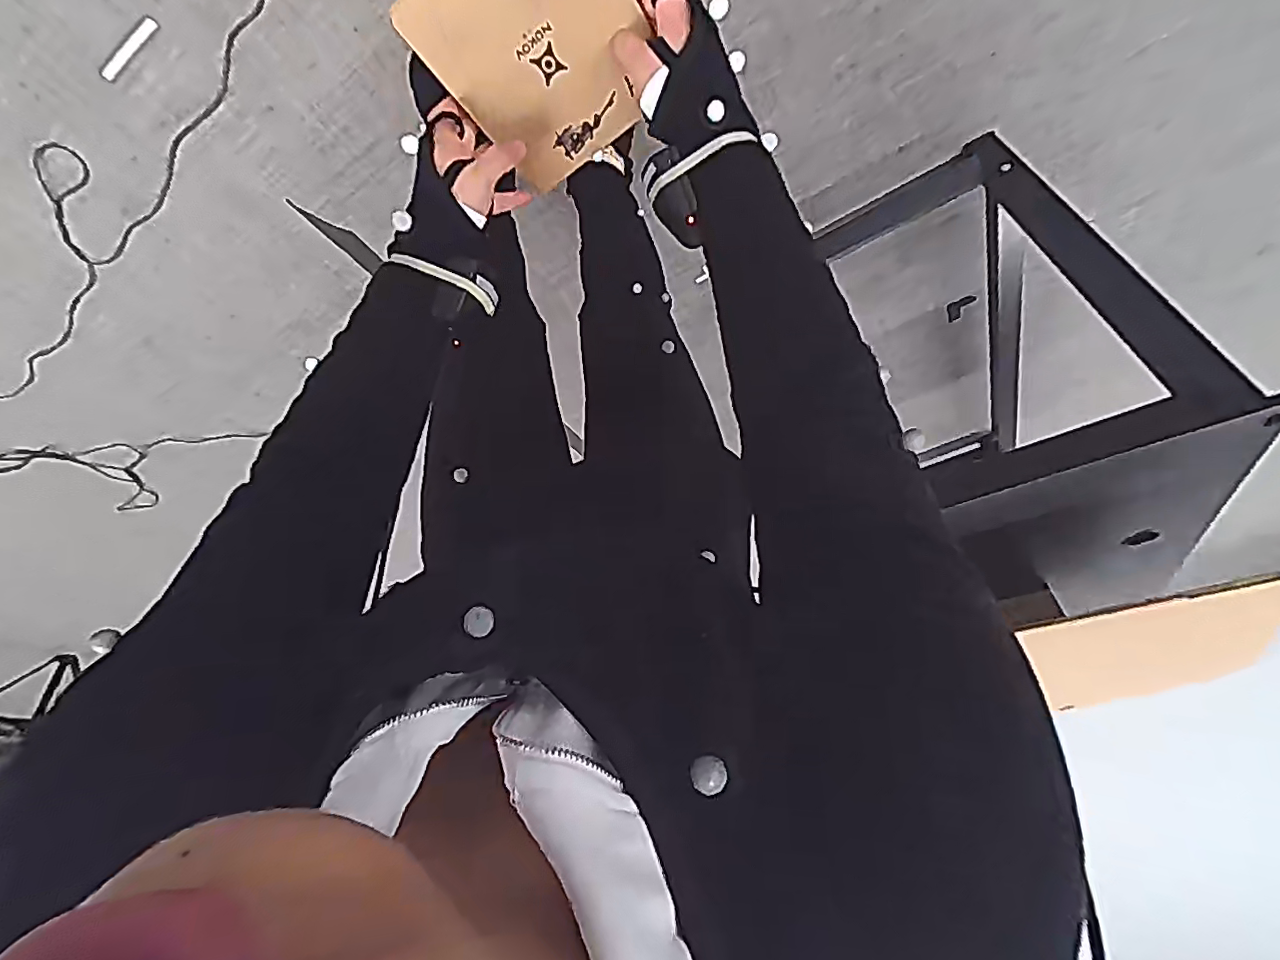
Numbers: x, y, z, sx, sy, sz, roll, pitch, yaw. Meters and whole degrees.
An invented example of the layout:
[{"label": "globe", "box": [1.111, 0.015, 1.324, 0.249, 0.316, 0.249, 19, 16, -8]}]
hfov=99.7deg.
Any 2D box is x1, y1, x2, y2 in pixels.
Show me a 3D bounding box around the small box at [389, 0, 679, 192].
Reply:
[{"label": "small box", "box": [-0.084, -0.414, 0.483, 0.168, 0.176, 0.179, -23, 140, 26]}]
